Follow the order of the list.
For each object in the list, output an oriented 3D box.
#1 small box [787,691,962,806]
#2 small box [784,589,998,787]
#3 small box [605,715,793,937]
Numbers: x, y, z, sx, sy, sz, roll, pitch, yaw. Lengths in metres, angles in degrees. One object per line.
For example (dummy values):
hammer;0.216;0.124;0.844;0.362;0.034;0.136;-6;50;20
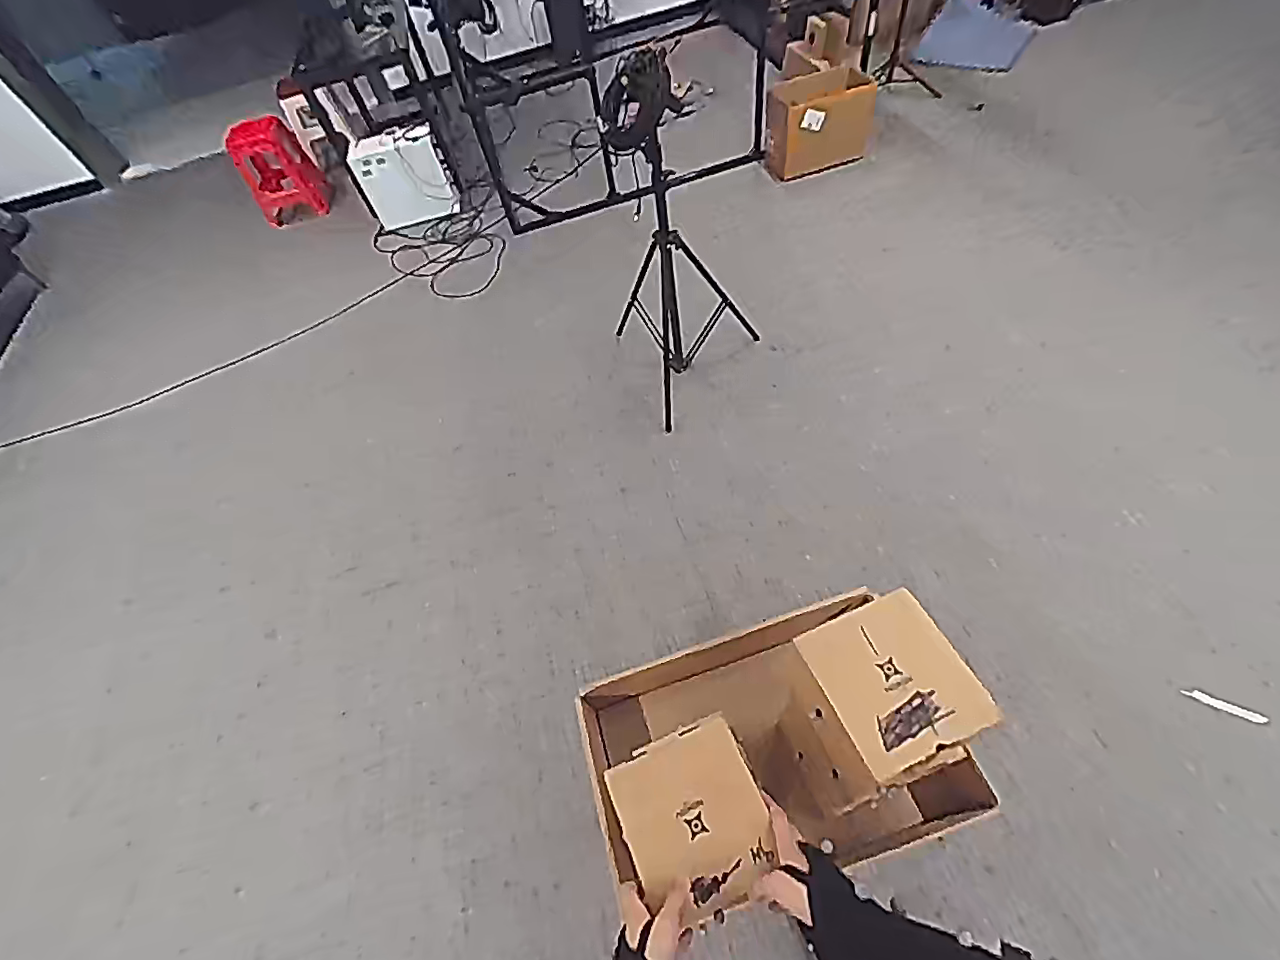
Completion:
small box;0.339;0.374;0.827;0.168;0.176;0.179;-21;56;-4
small box;0.304;0.275;0.700;0.168;0.176;0.179;-23;55;-6
small box;0.070;0.433;0.693;0.168;0.176;0.179;-24;58;-7
